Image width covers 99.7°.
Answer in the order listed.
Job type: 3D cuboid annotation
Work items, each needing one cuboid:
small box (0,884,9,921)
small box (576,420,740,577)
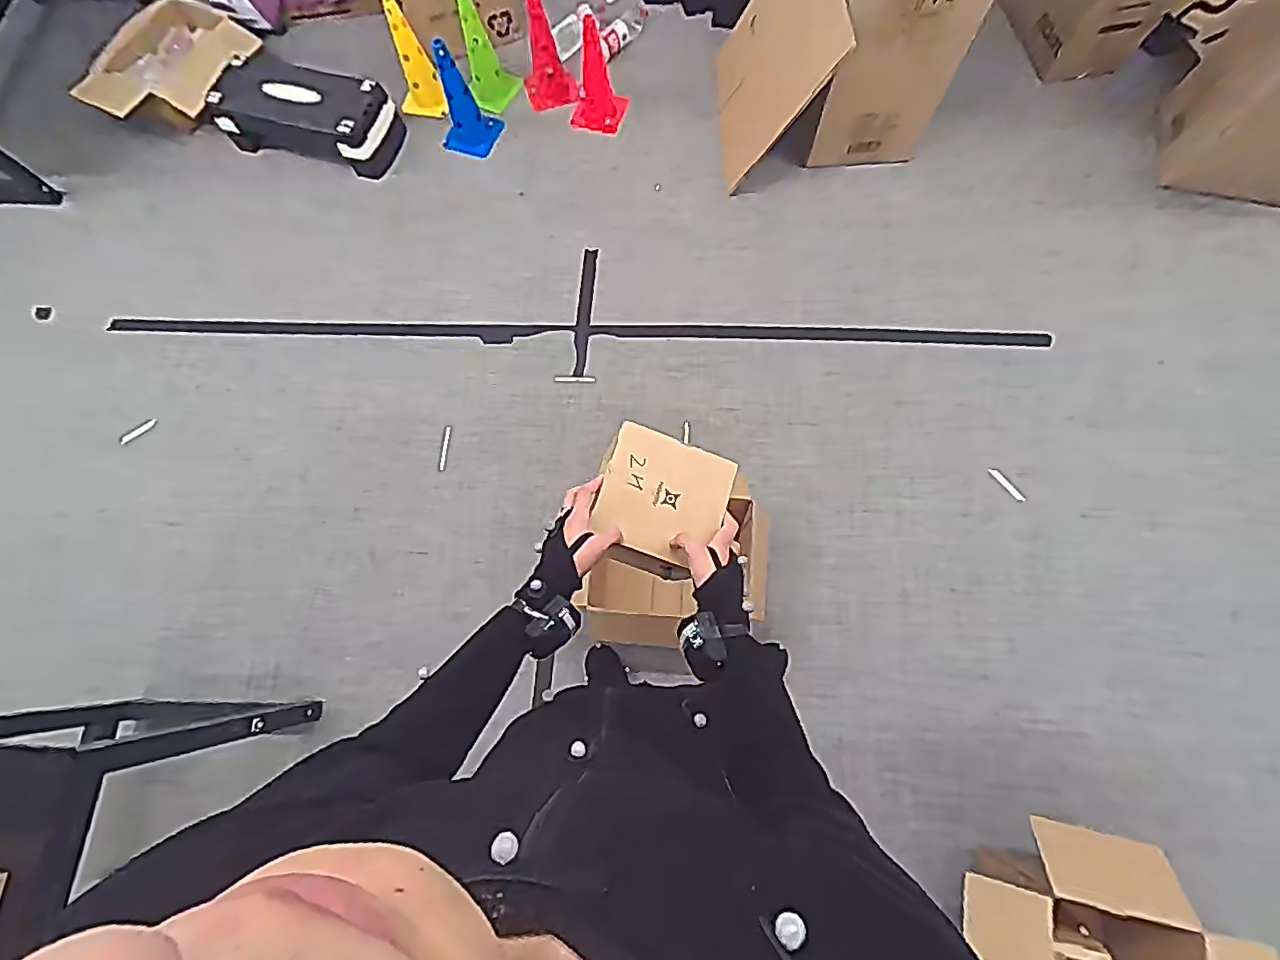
[{"bbox_3d":[-1.063,0.671,0.749,0.168,0.176,0.179,4,75,5],"label":"small box"},{"bbox_3d":[0.018,0.038,0.795,0.179,0.176,0.168,21,74,-6],"label":"small box"}]
